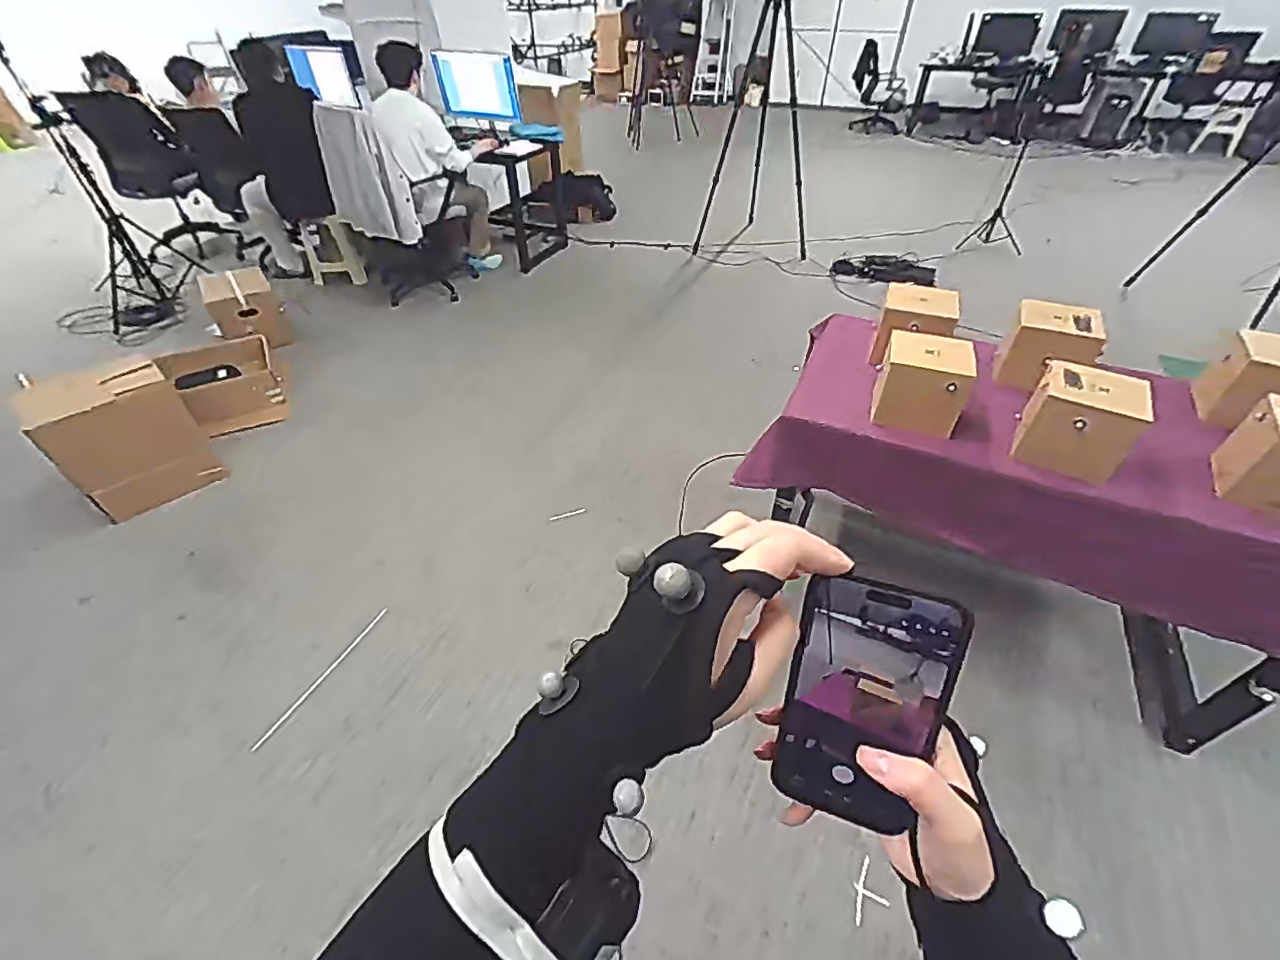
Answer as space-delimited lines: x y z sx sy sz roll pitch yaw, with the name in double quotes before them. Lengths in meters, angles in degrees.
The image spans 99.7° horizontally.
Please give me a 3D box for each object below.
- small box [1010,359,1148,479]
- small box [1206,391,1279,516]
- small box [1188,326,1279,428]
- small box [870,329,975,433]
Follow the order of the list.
"small box" 0.926 -0.129 1.153 0.179 0.176 0.168 24 48 23
"small box" 1.272 -0.040 1.051 0.179 0.176 0.168 24 48 24
"small box" 1.426 -0.227 1.251 0.168 0.176 0.179 21 48 22
"small box" 0.652 -0.230 1.268 0.179 0.176 0.168 15 44 14
